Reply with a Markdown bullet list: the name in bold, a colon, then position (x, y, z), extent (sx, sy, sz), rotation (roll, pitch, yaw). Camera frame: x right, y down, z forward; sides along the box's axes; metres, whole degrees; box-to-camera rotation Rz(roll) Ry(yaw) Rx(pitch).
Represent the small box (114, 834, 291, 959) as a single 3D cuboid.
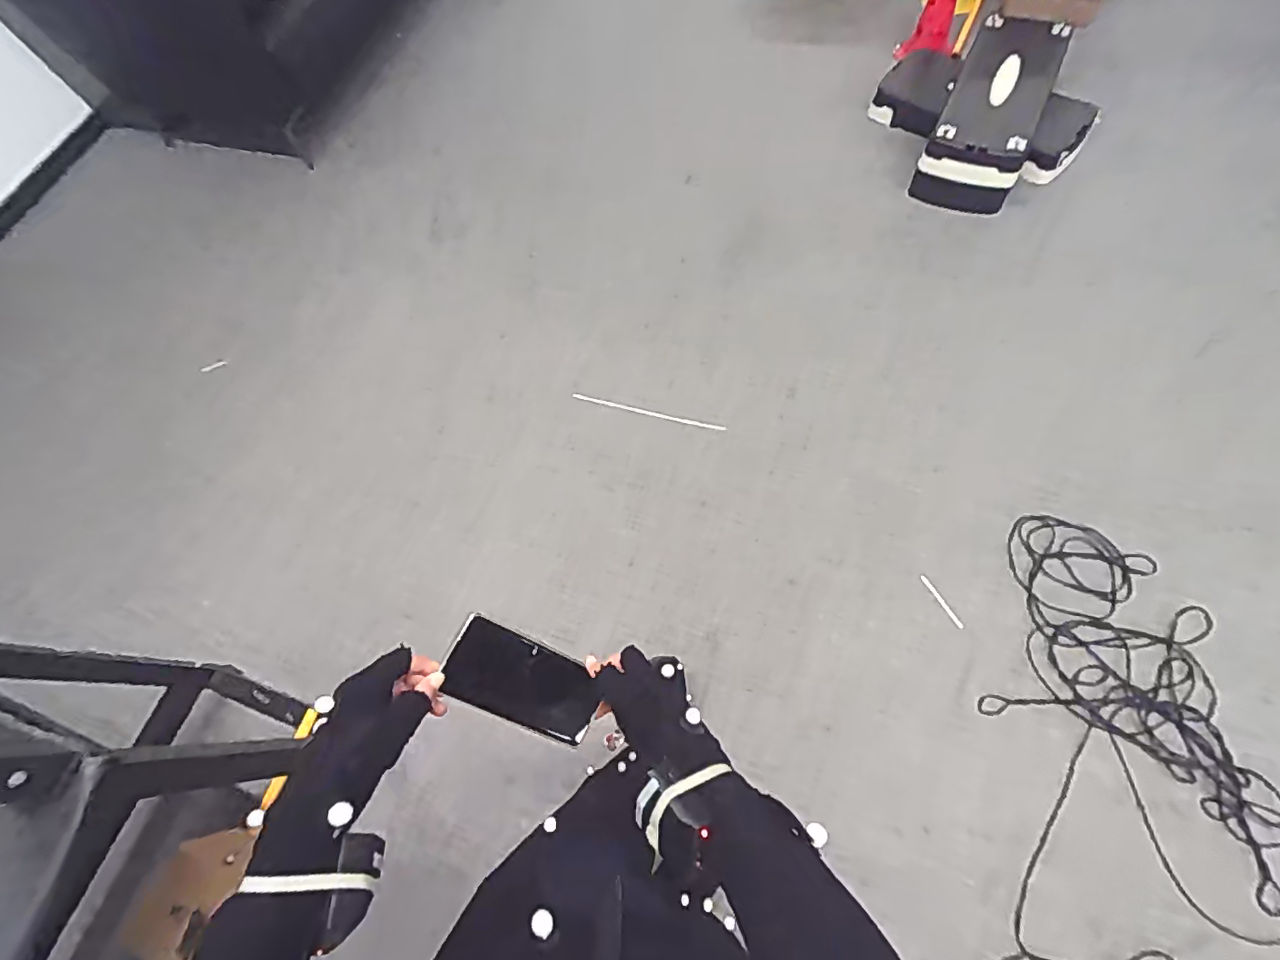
- **small box**: position (-0.848, 0.834, 1.068), extent (0.179, 0.176, 0.168), rotation (18, 70, 14)
